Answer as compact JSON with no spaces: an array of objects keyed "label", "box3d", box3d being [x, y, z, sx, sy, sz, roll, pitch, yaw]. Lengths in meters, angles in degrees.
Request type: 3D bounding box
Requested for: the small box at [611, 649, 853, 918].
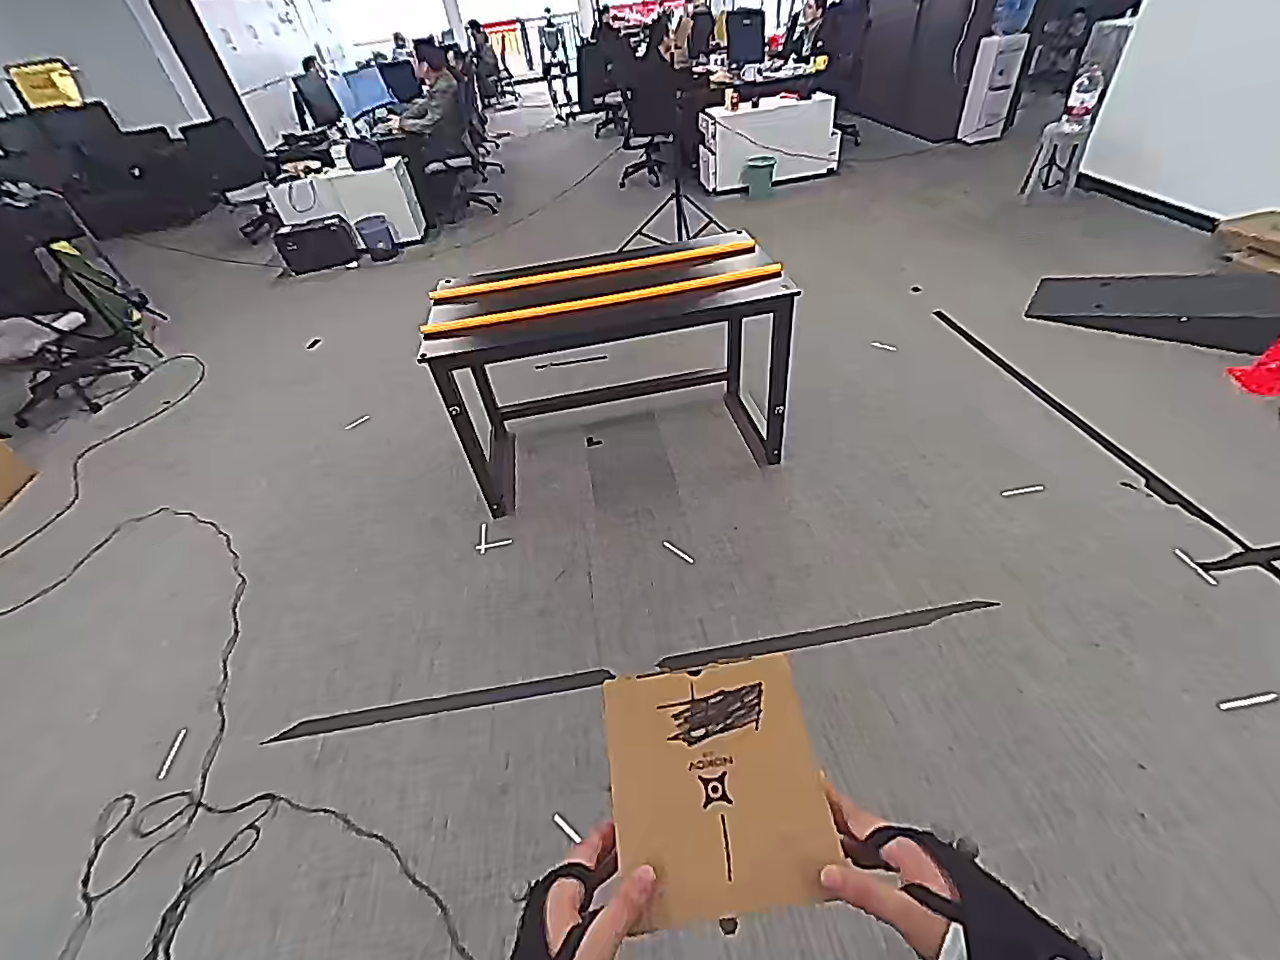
[{"label":"small box","box3d":[0.069,0.279,0.498,0.168,0.176,0.179,-9,54,0]}]
